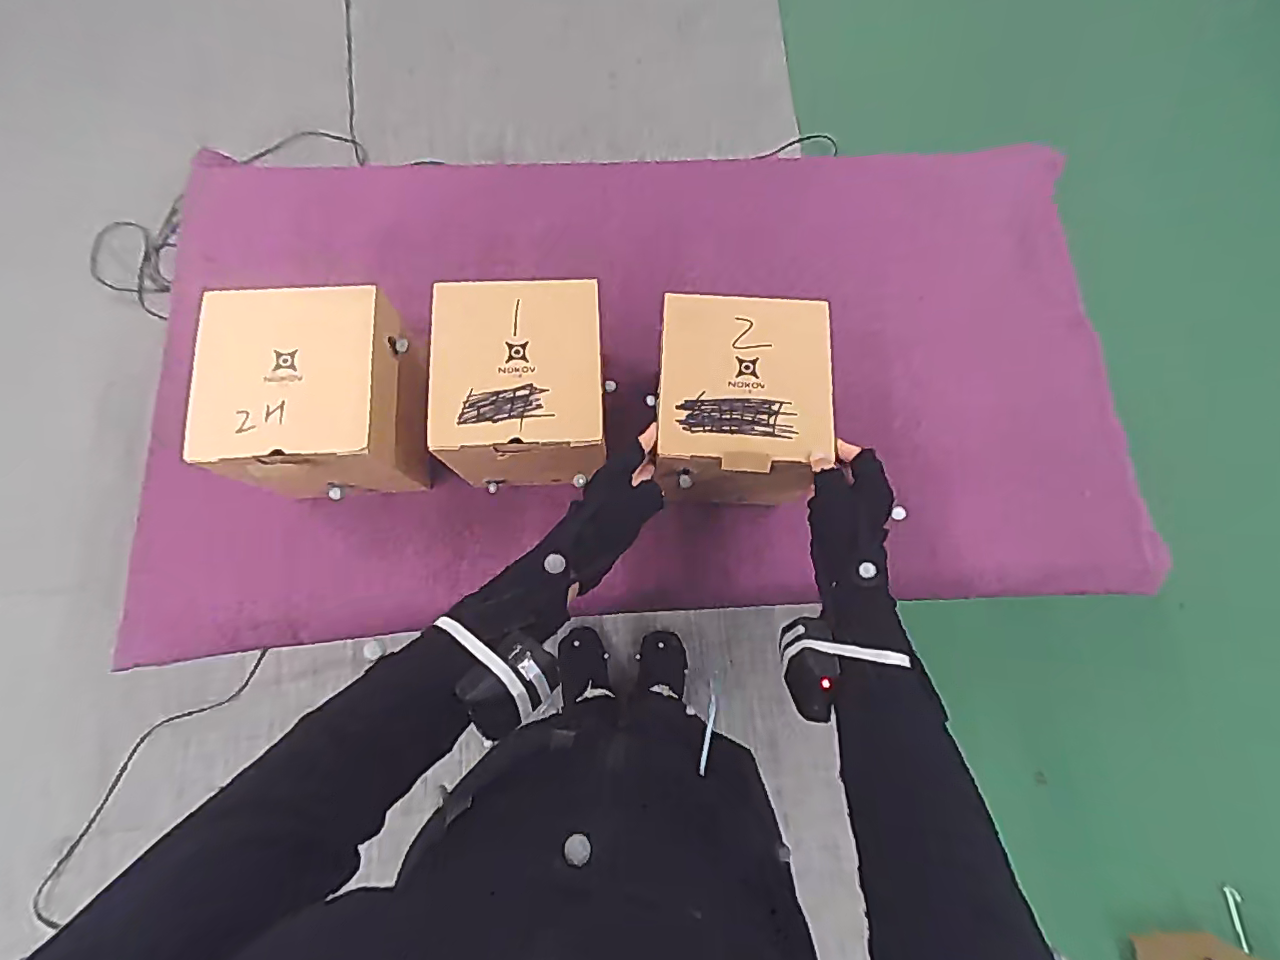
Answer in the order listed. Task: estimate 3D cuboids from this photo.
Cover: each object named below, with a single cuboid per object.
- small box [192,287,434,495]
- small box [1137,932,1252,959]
[{"bbox_3d":[-0.337,-0.089,0.596,0.168,0.176,0.179,-3,77,-3],"label":"small box"},{"bbox_3d":[1.206,1.083,1.123,0.179,0.176,0.168,-2,77,-2],"label":"small box"}]
